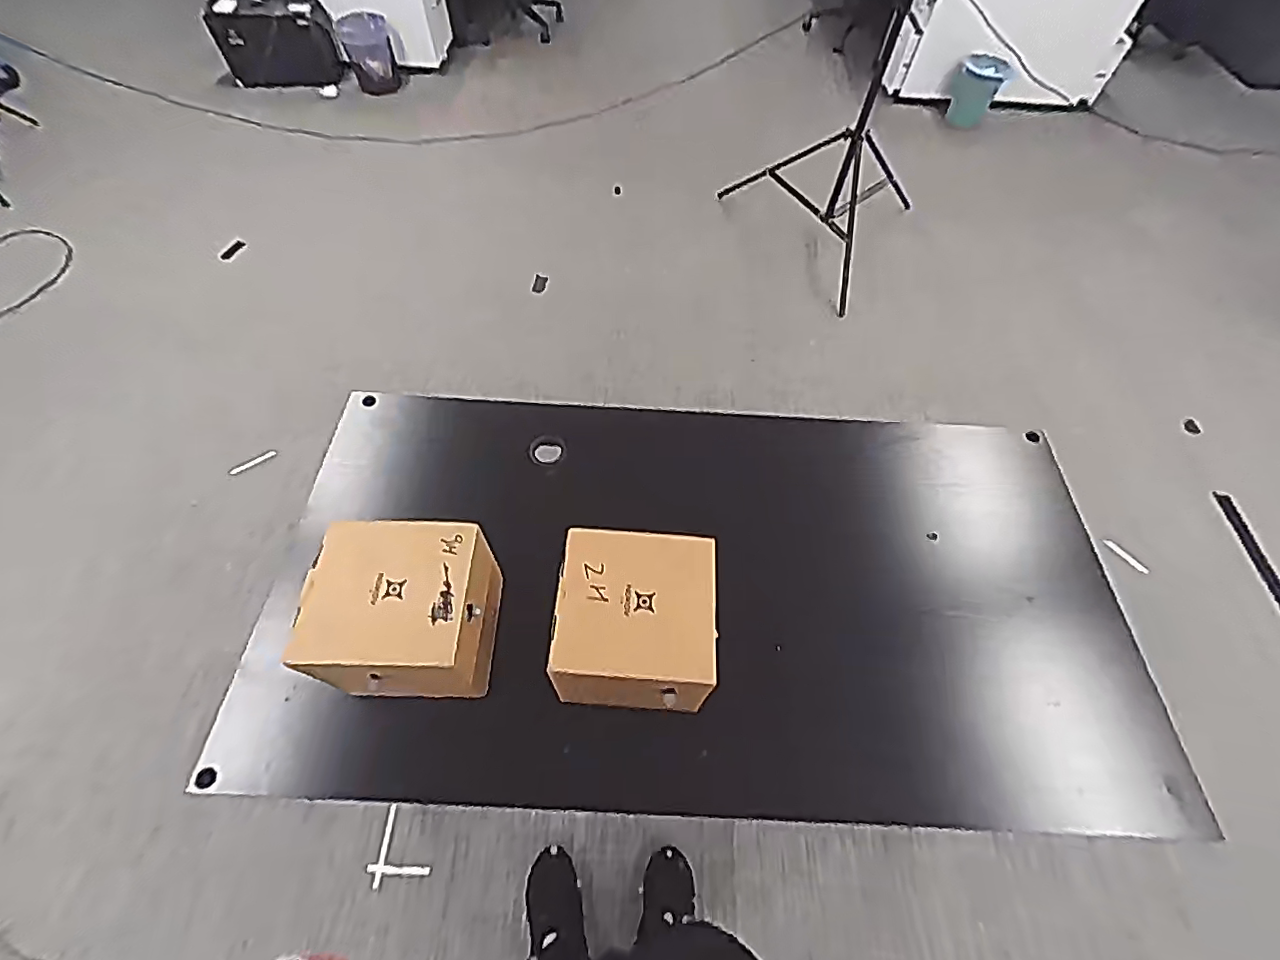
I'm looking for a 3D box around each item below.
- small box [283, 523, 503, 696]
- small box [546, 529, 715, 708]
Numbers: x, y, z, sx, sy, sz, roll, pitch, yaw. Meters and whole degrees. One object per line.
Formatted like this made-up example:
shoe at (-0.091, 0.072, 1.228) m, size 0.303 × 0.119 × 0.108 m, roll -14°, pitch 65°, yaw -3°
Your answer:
small box at (-0.280, 0.164, 0.661) m, size 0.179 × 0.176 × 0.168 m, roll 1°, pitch 58°, yaw -1°
small box at (-0.008, 0.176, 0.663) m, size 0.179 × 0.176 × 0.168 m, roll 4°, pitch 58°, yaw 1°
